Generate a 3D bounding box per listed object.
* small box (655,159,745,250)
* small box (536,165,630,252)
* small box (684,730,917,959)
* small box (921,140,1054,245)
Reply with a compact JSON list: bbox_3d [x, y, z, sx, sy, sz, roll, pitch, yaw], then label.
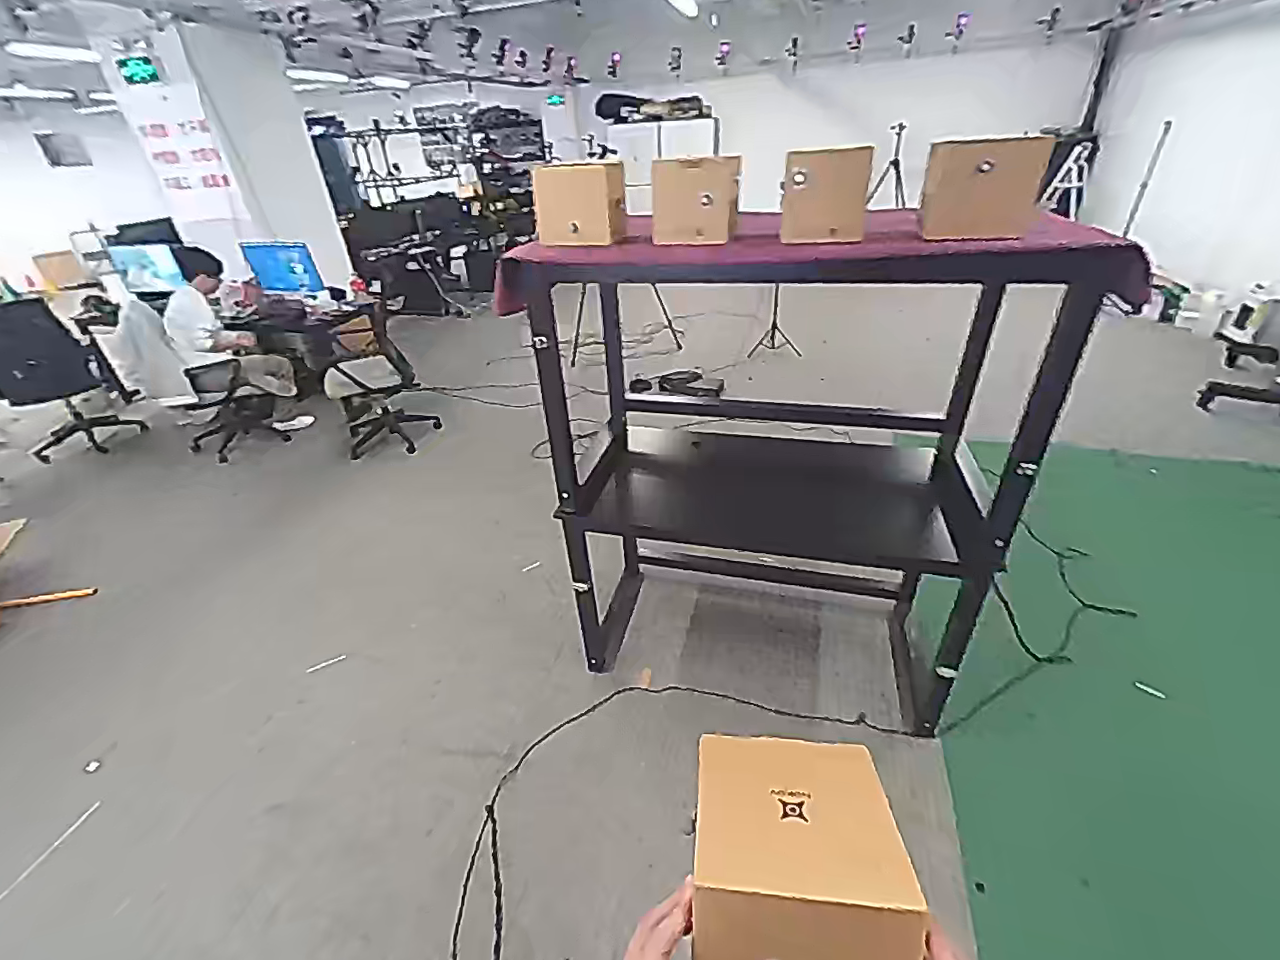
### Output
[{"bbox_3d":[0.139,-0.618,1.216,0.168,0.176,0.179,8,32,16],"label":"small box"},{"bbox_3d":[-0.125,-0.644,1.282,0.179,0.176,0.168,6,32,13],"label":"small box"},{"bbox_3d":[0.129,0.353,0.479,0.168,0.176,0.179,0,10,8],"label":"small box"},{"bbox_3d":[0.670,-0.565,1.070,0.179,0.176,0.168,6,32,16],"label":"small box"}]
